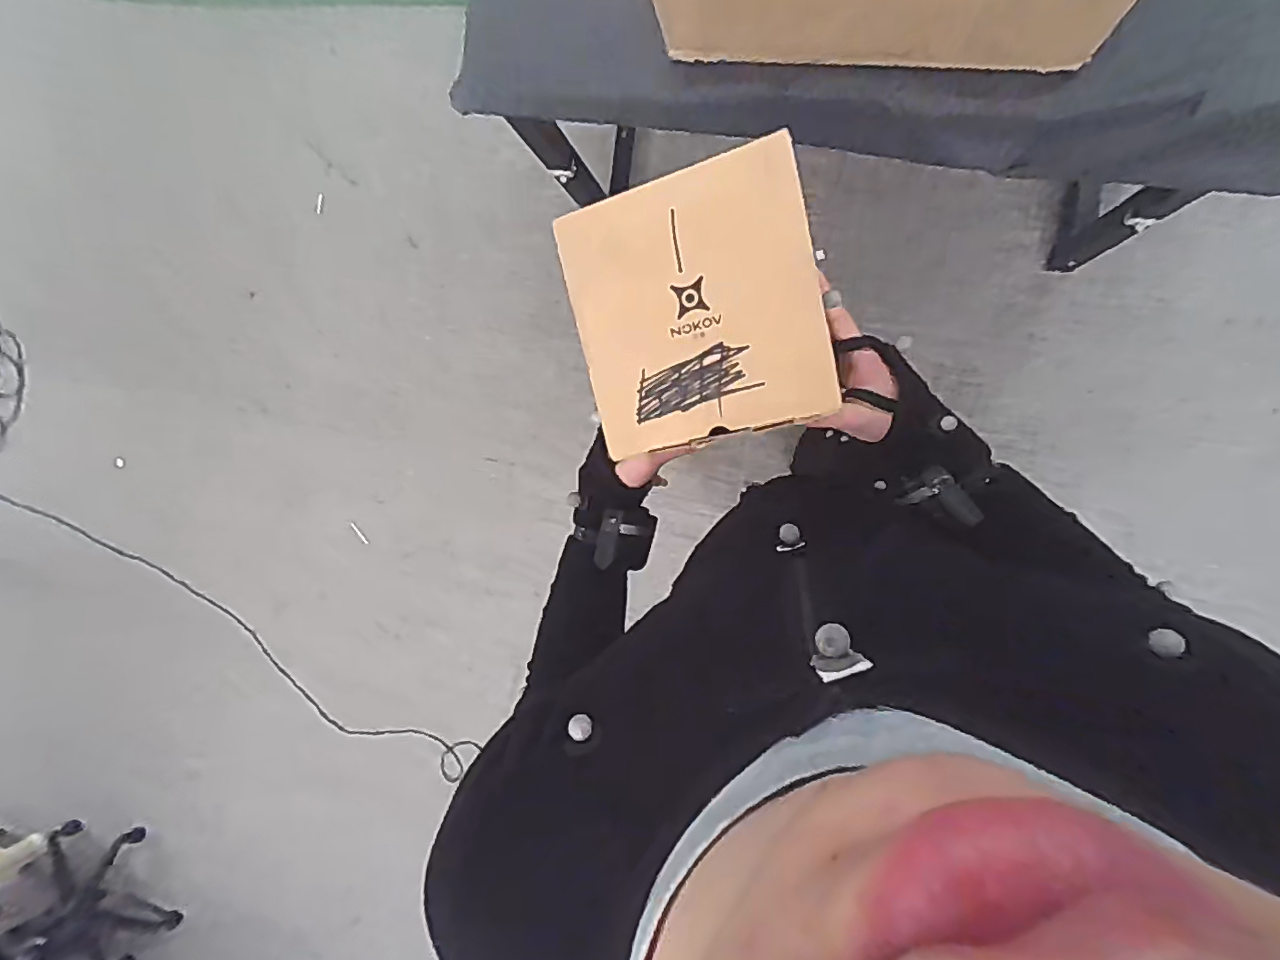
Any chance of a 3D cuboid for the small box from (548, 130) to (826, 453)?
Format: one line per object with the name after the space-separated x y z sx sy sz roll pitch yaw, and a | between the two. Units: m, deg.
0.053 -0.132 0.435 0.168 0.176 0.179 -10 98 20 | small box
